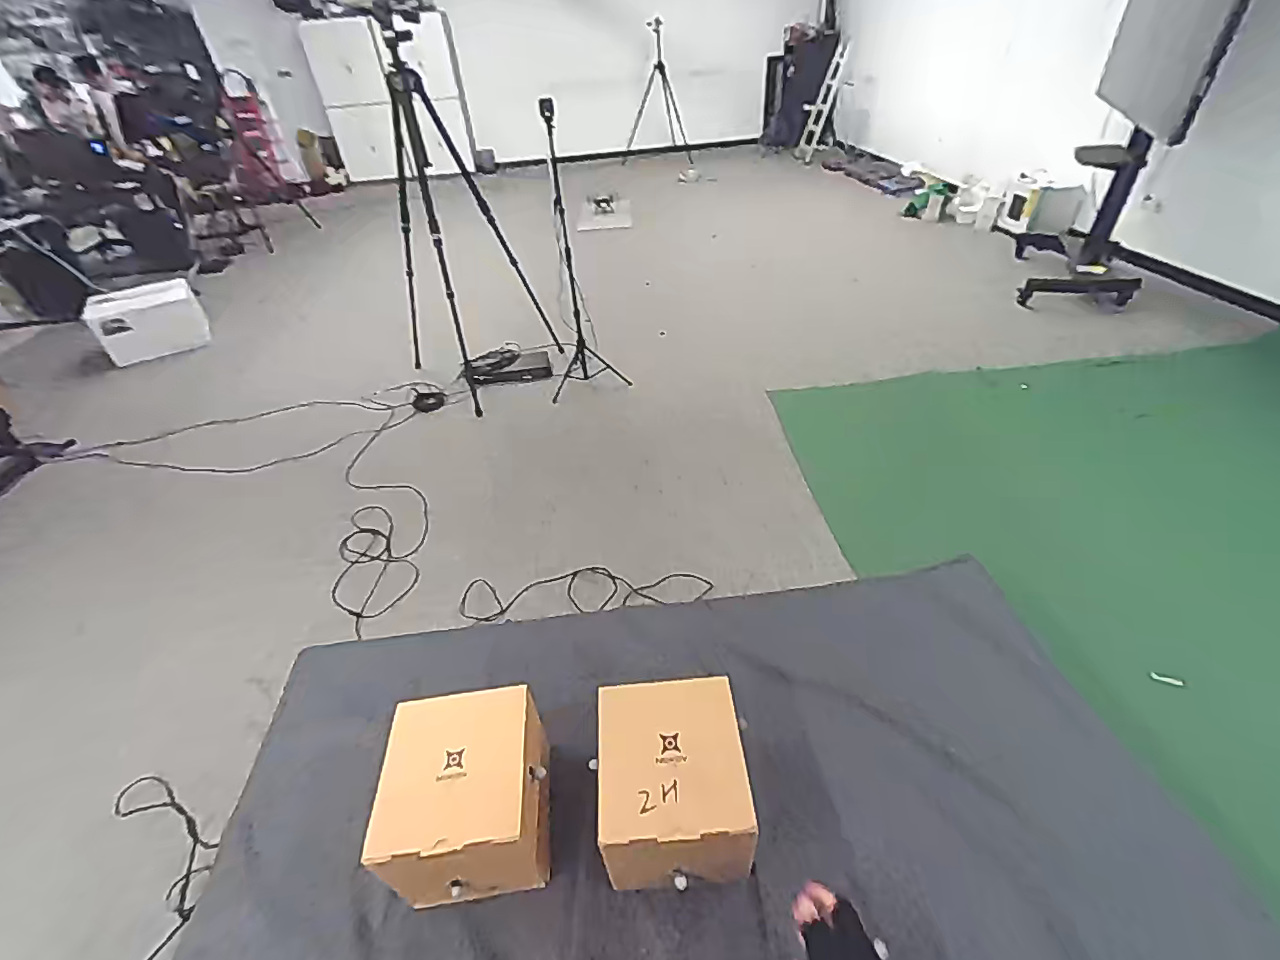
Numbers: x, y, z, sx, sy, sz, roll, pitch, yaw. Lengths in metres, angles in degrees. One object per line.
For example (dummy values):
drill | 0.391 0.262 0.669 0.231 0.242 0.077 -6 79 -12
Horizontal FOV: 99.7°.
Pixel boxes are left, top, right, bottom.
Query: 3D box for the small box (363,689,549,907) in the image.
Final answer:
small box | -0.209 0.391 0.670 0.168 0.176 0.179 -7 40 -3

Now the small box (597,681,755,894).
small box | 0.038 0.374 0.663 0.168 0.176 0.179 -5 40 0
